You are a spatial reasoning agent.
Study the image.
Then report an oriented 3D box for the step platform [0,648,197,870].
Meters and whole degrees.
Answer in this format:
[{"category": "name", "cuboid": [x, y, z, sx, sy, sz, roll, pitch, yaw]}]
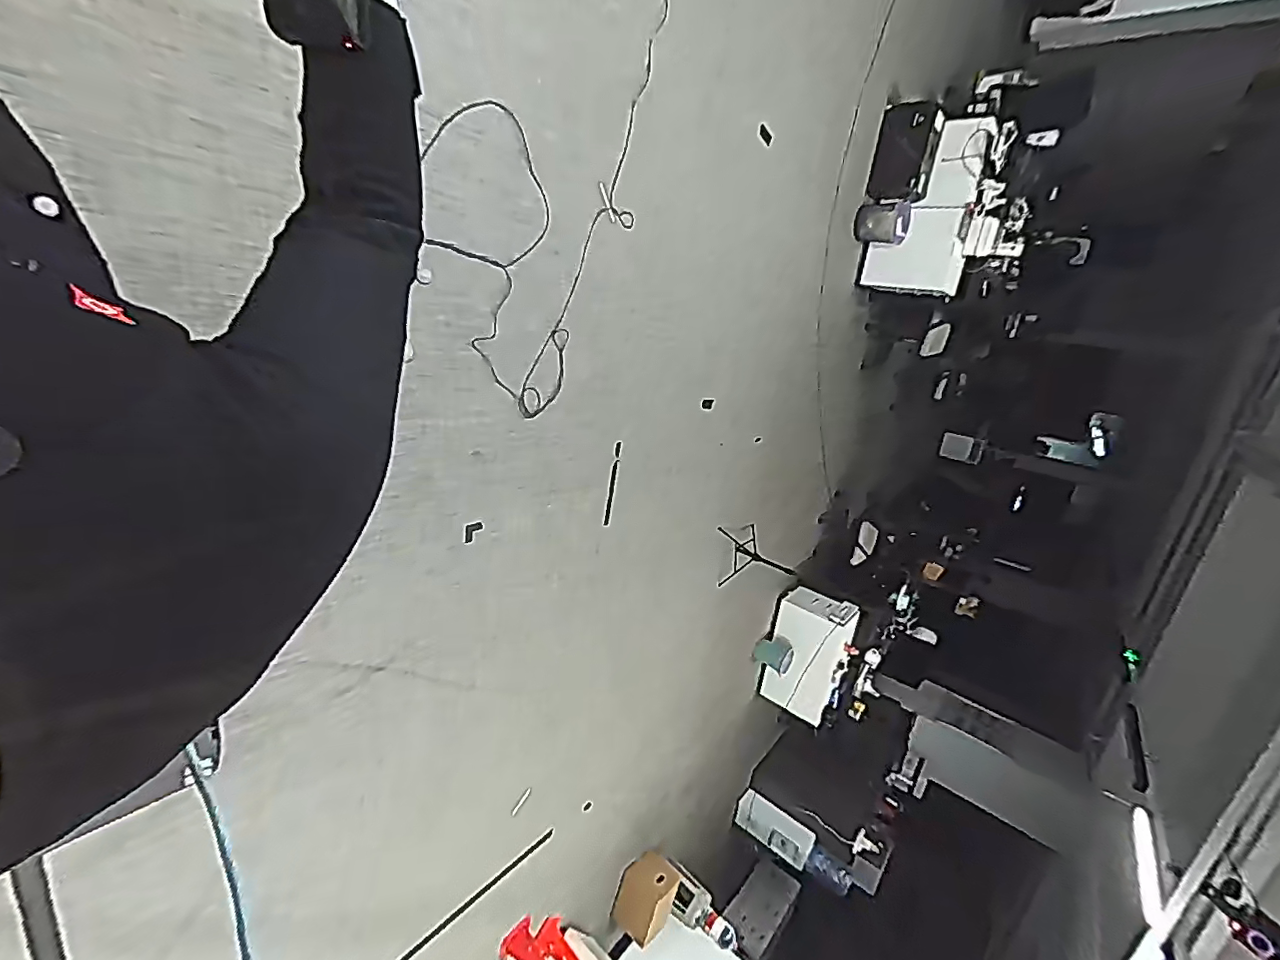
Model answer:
[{"category": "step platform", "cuboid": [-1.294, 0.606, 1.041, 0.684, 0.204, 0.286, -15, 119, -48]}]
